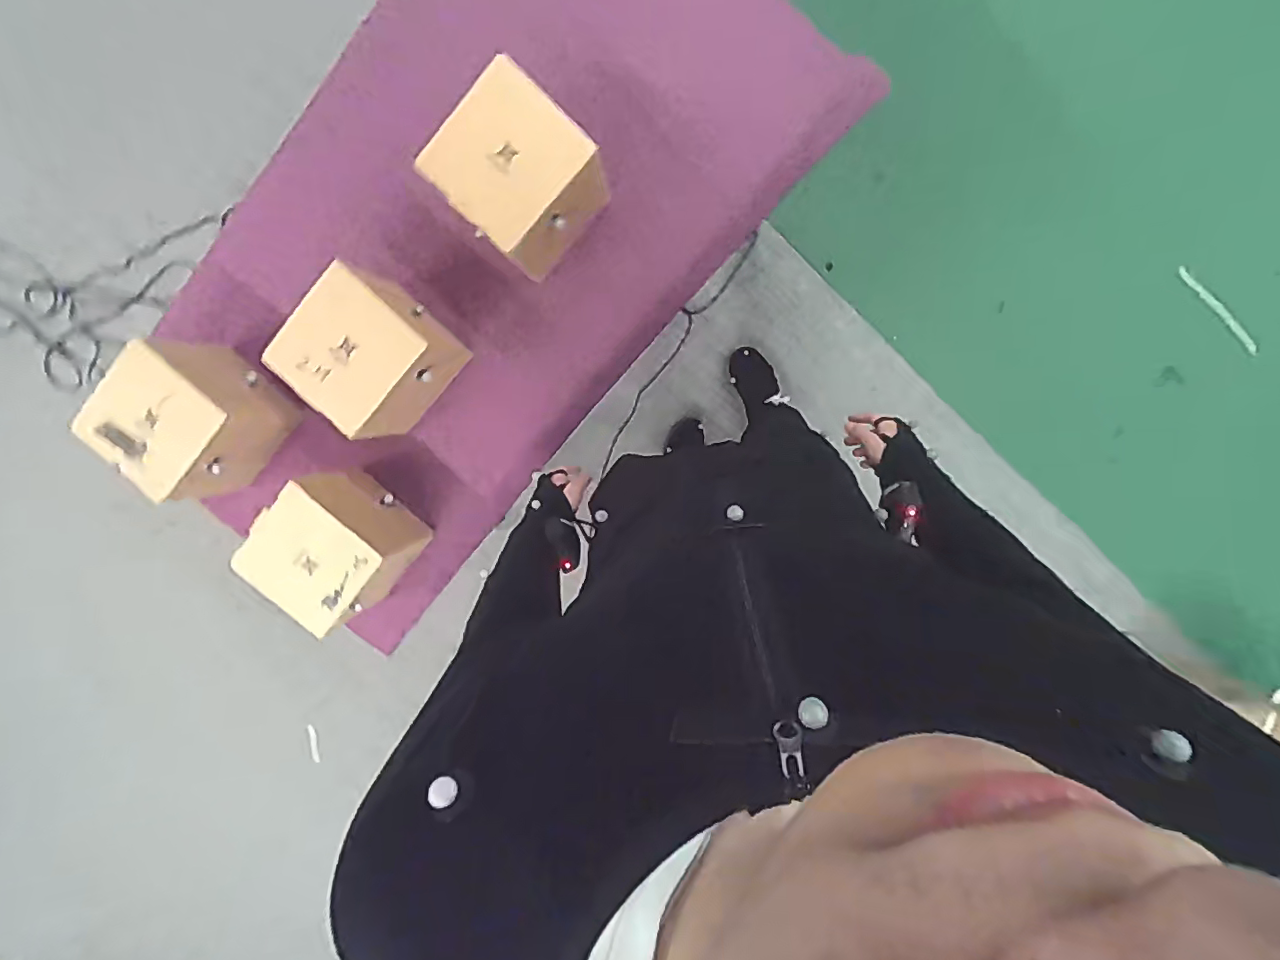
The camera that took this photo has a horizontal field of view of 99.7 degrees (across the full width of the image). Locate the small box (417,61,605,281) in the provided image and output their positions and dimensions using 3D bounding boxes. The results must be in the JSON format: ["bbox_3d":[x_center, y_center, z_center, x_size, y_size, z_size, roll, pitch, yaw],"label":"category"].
[{"bbox_3d":[-0.164,-0.411,0.756,0.168,0.176,0.179,43,100,-4],"label":"small box"}]

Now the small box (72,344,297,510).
[{"bbox_3d":[-0.684,-0.082,0.835,0.168,0.176,0.179,42,98,-4],"label":"small box"}]

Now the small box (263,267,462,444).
[{"bbox_3d":[-0.391,-0.177,0.803,0.168,0.176,0.179,43,99,-3],"label":"small box"}]

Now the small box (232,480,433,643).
[{"bbox_3d":[-0.470,0.114,0.851,0.179,0.176,0.168,41,99,-2],"label":"small box"}]
